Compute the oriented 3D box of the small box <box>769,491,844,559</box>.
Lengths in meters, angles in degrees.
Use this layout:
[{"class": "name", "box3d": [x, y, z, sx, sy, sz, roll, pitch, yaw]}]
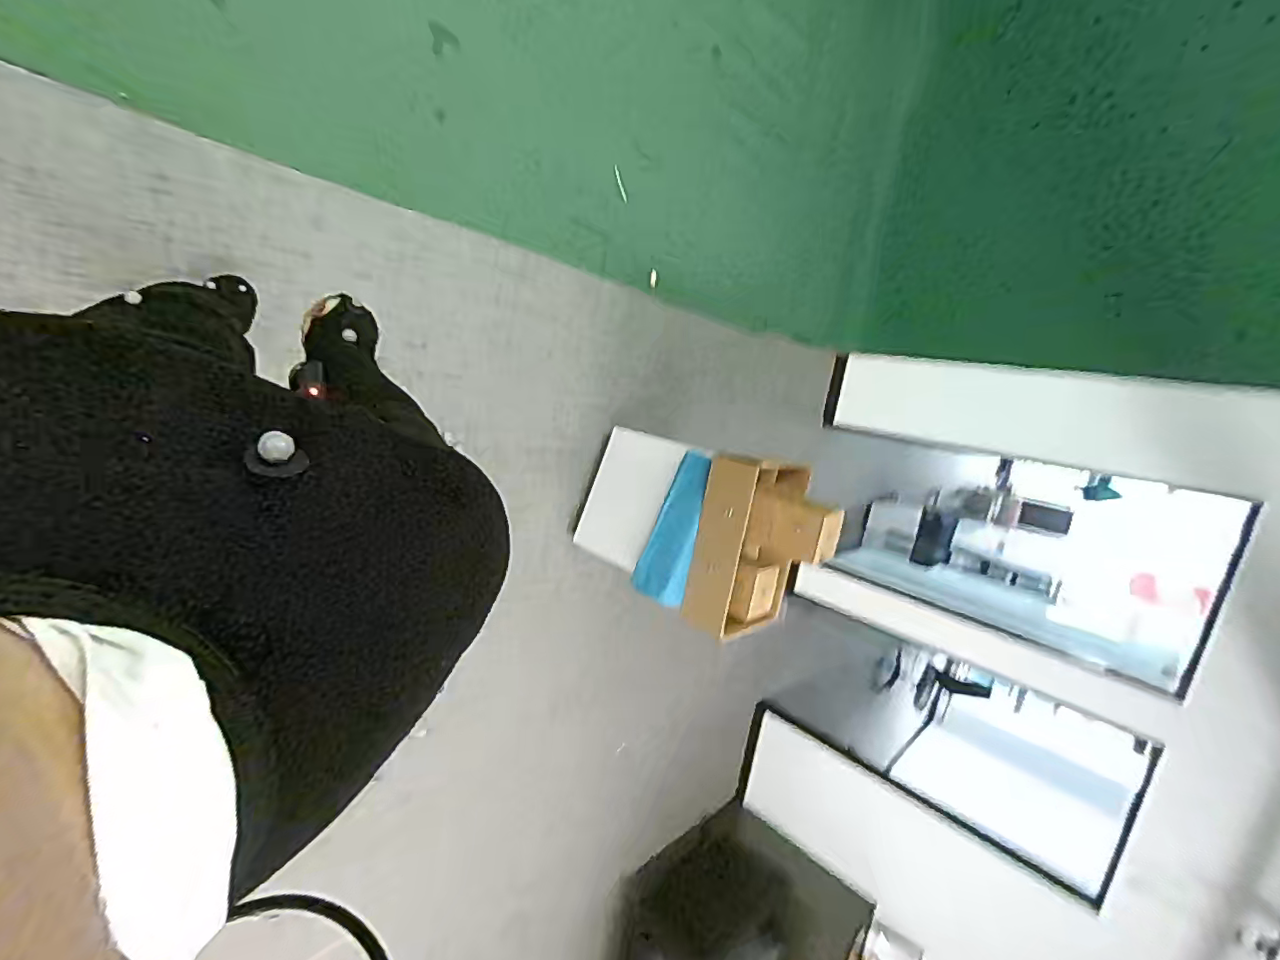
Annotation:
[{"class": "small box", "box3d": [0.549, 0.140, 1.790, 0.168, 0.176, 0.179, -8, 111, -46]}]
